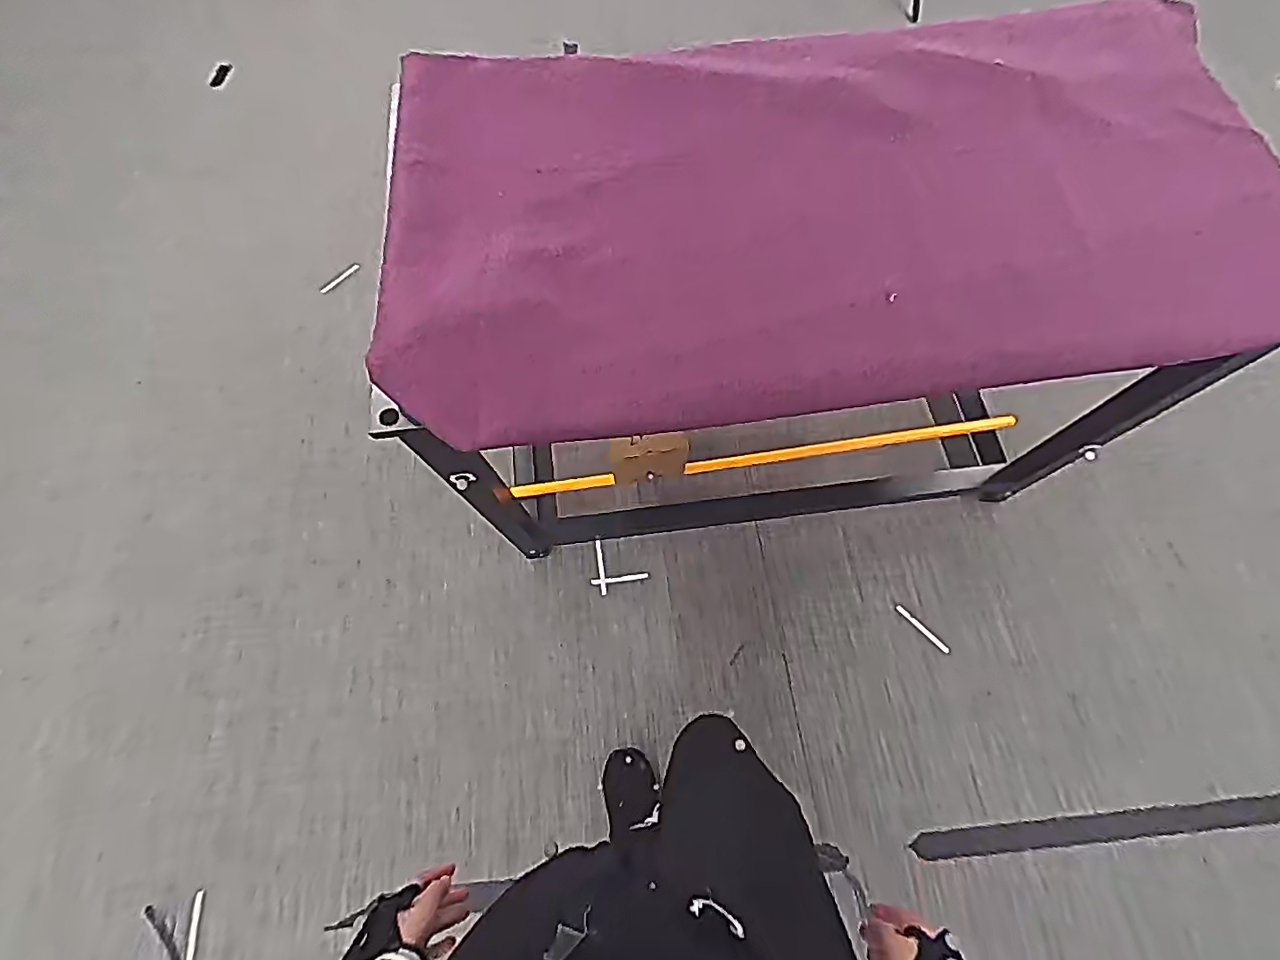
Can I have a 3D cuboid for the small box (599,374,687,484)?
[{"bbox_3d":[0.004,-0.109,1.210,0.168,0.176,0.179,-10,71,-2],"label":"small box"}]
